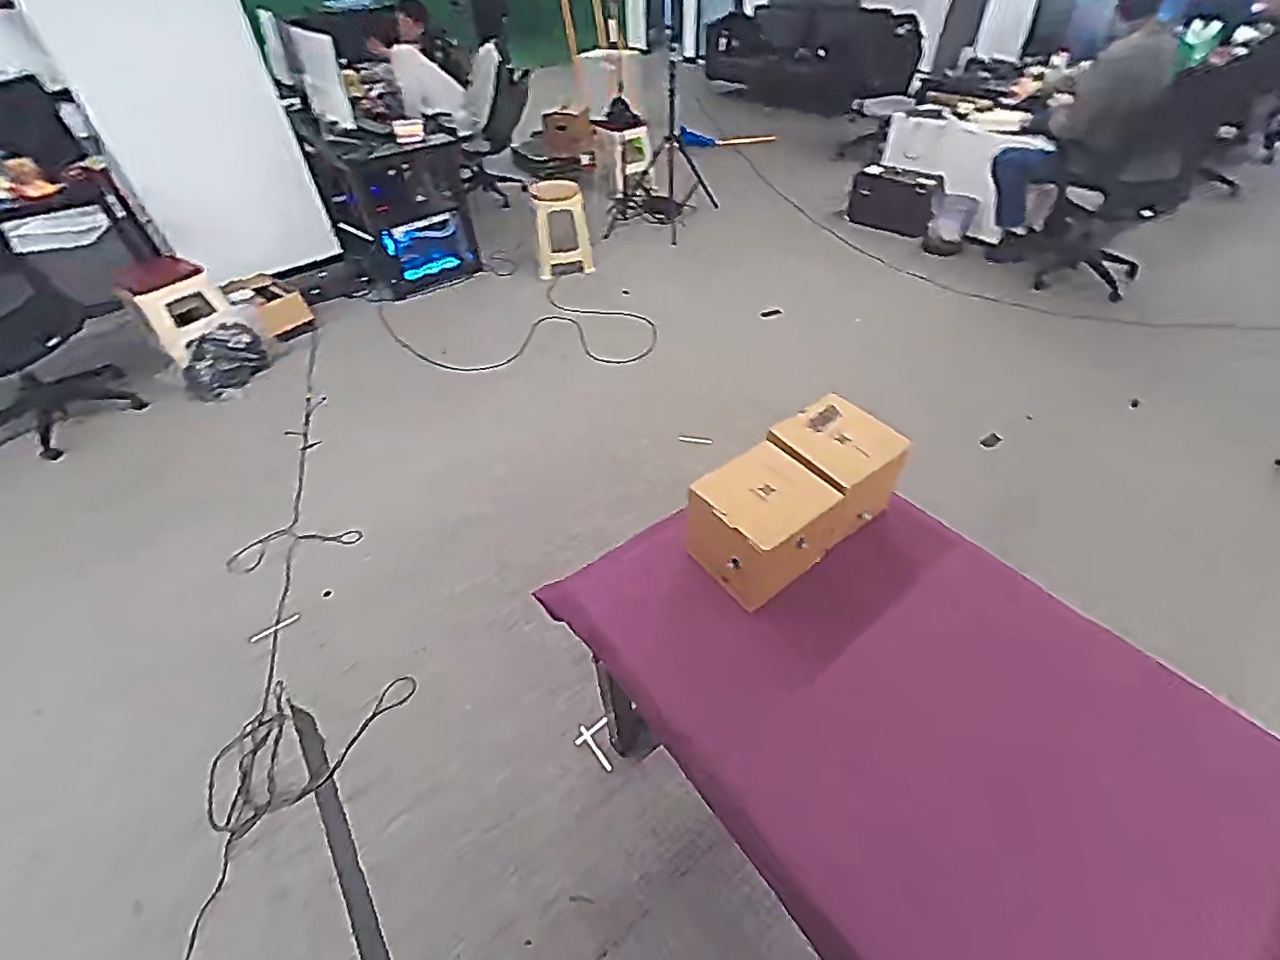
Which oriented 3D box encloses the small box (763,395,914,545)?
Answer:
[{"bbox_3d":[0.341,-0.017,0.968,0.168,0.176,0.179,-29,53,-21],"label":"small box"}]
